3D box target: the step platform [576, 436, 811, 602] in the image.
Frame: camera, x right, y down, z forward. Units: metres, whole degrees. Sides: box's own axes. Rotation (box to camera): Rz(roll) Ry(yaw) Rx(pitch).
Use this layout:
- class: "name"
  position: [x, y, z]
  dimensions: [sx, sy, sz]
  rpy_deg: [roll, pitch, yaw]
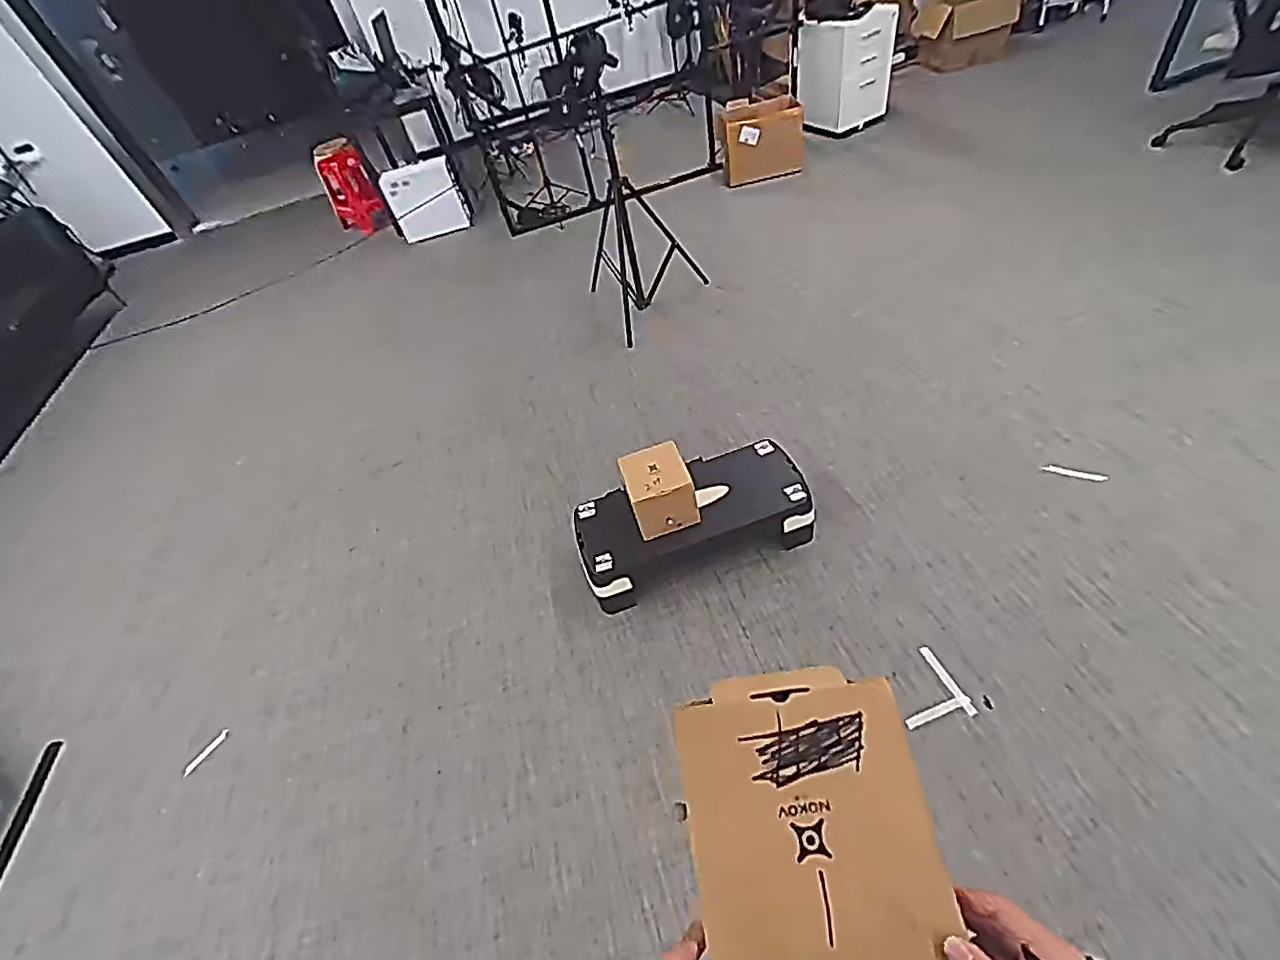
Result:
- class: "step platform"
  position: [0.154, 0.110, 1.627]
  dimensions: [0.684, 0.204, 0.286]
  rpy_deg: [-20, 46, -3]

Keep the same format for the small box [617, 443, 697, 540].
- class: "small box"
  position: [0.048, 0.034, 1.484]
  dimensions: [0.168, 0.176, 0.179]
  rpy_deg: [-19, 47, -2]

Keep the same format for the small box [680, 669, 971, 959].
- class: "small box"
  position: [0.125, 0.266, 0.449]
  dimensions: [0.168, 0.176, 0.179]
  rpy_deg: [-9, 65, 2]
